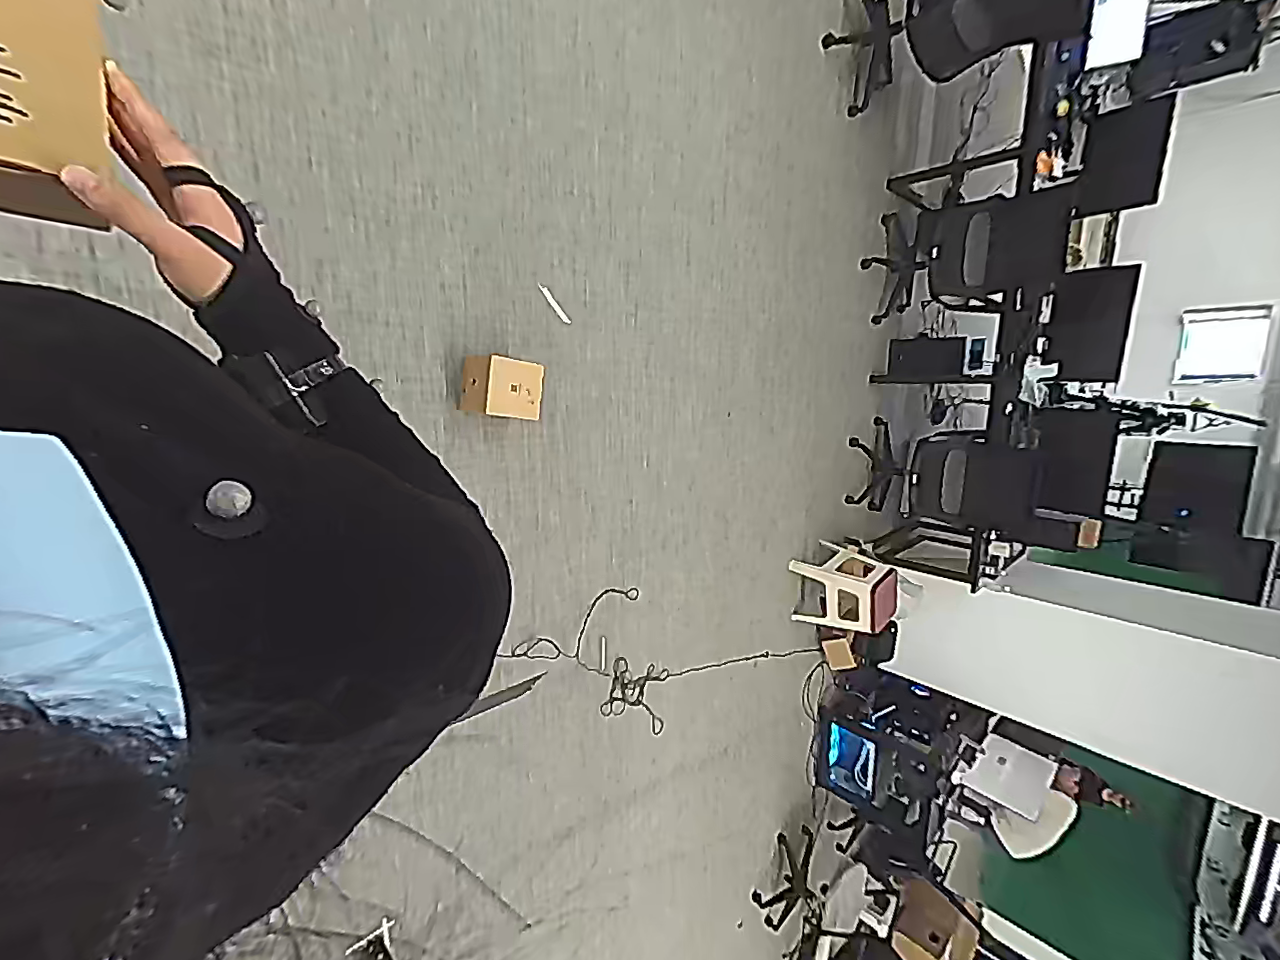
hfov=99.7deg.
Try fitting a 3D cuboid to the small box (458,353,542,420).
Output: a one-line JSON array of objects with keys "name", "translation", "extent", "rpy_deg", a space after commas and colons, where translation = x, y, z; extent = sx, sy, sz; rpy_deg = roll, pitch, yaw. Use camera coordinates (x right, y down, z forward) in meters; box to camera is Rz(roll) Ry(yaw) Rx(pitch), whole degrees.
[{"name": "small box", "translation": [-0.415, -0.271, 1.591], "extent": [0.179, 0.176, 0.168], "rpy_deg": [4, 96, -45]}]
